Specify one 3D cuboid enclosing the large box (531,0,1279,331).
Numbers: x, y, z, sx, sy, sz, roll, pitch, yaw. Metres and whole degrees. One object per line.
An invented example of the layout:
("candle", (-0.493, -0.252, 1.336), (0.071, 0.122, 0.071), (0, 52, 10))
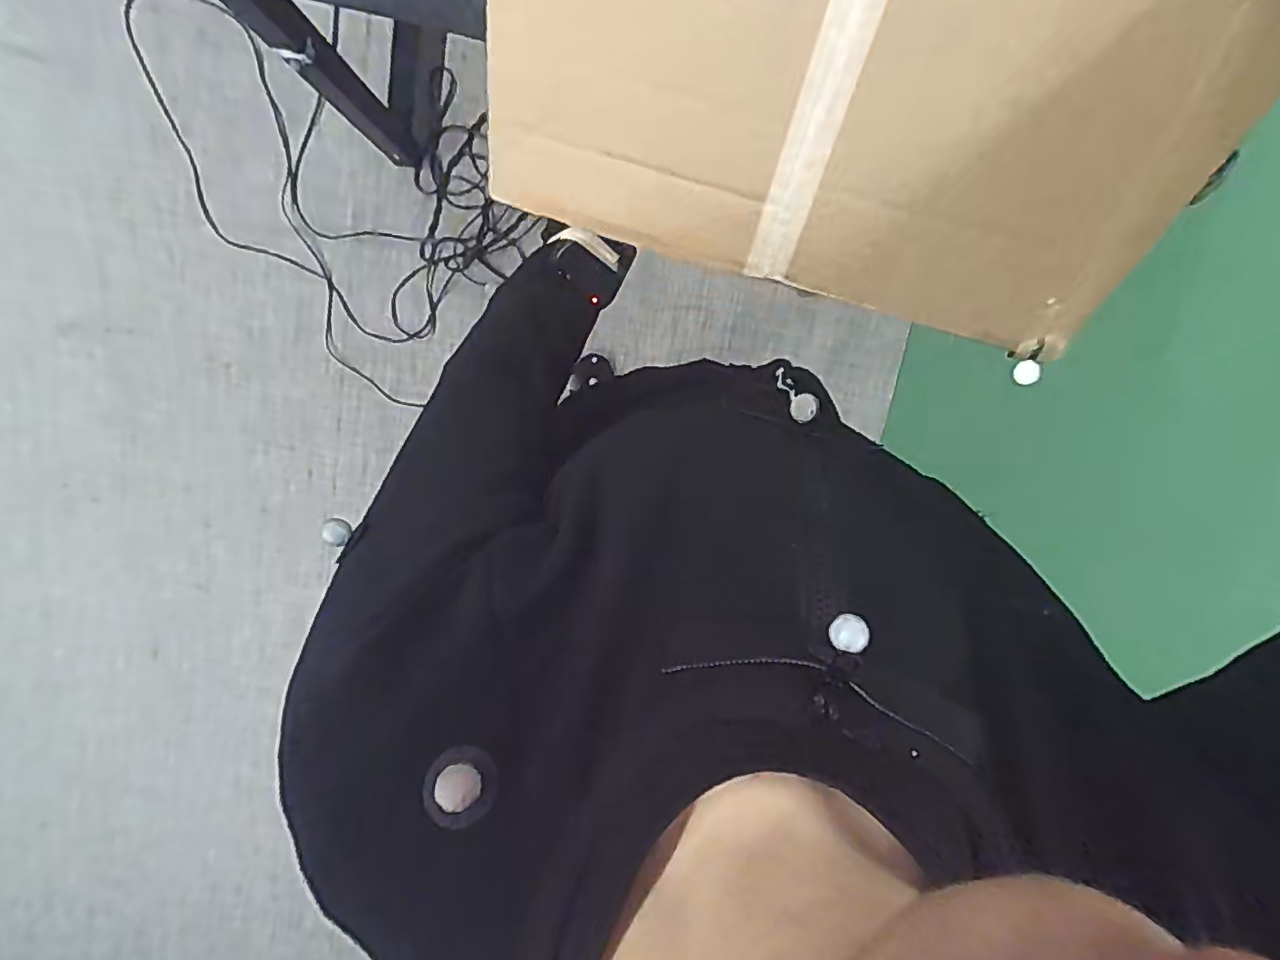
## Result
("large box", (0.148, -0.358, 0.270), (0.320, 0.320, 0.408), (17, 135, 4))
